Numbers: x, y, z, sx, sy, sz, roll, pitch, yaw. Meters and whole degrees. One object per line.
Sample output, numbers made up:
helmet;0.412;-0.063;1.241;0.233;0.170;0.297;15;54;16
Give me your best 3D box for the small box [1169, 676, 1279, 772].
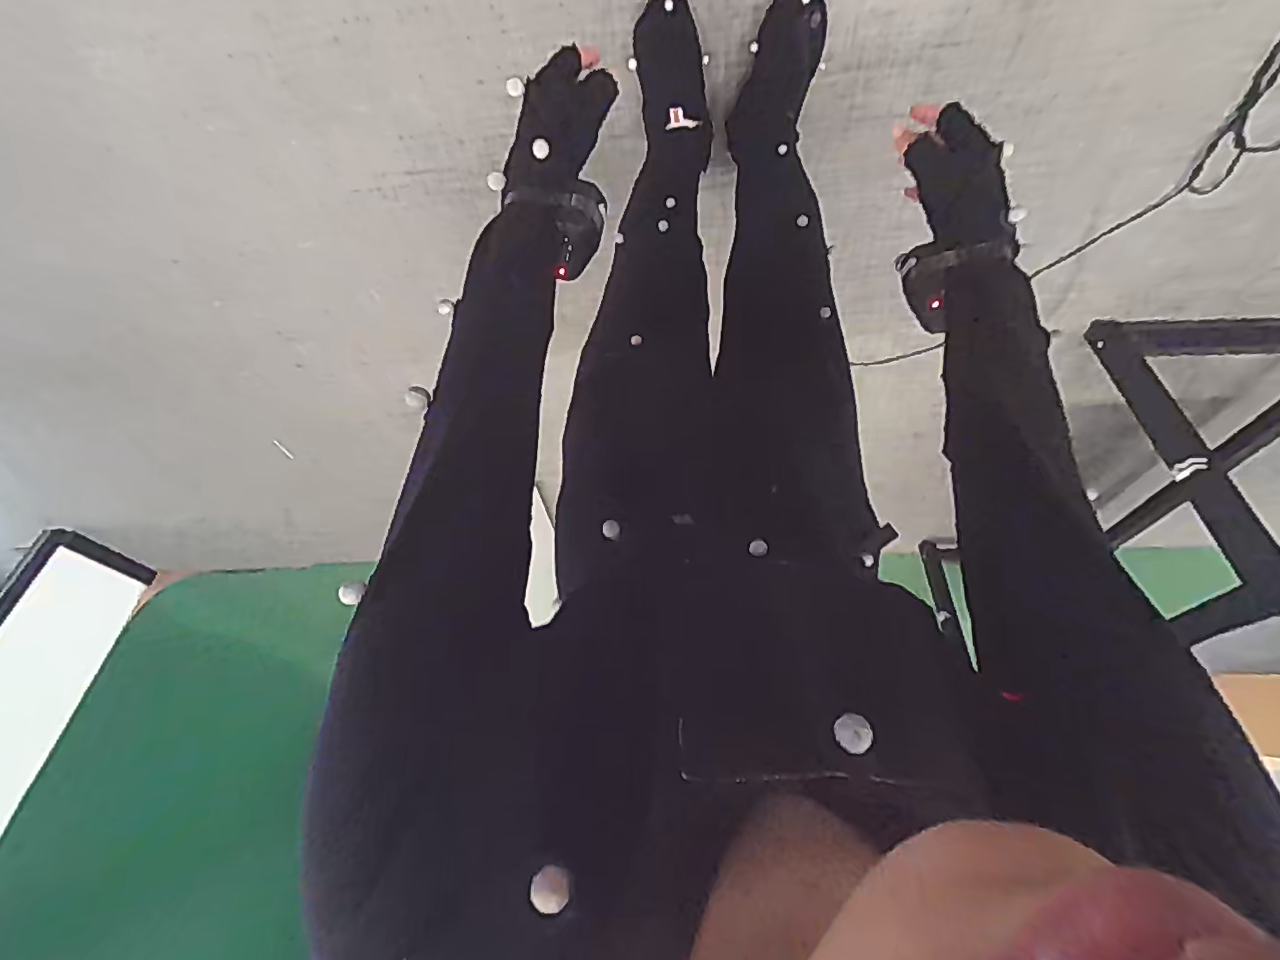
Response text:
small box;1.340;0.533;1.181;0.179;0.176;0.168;0;145;5
